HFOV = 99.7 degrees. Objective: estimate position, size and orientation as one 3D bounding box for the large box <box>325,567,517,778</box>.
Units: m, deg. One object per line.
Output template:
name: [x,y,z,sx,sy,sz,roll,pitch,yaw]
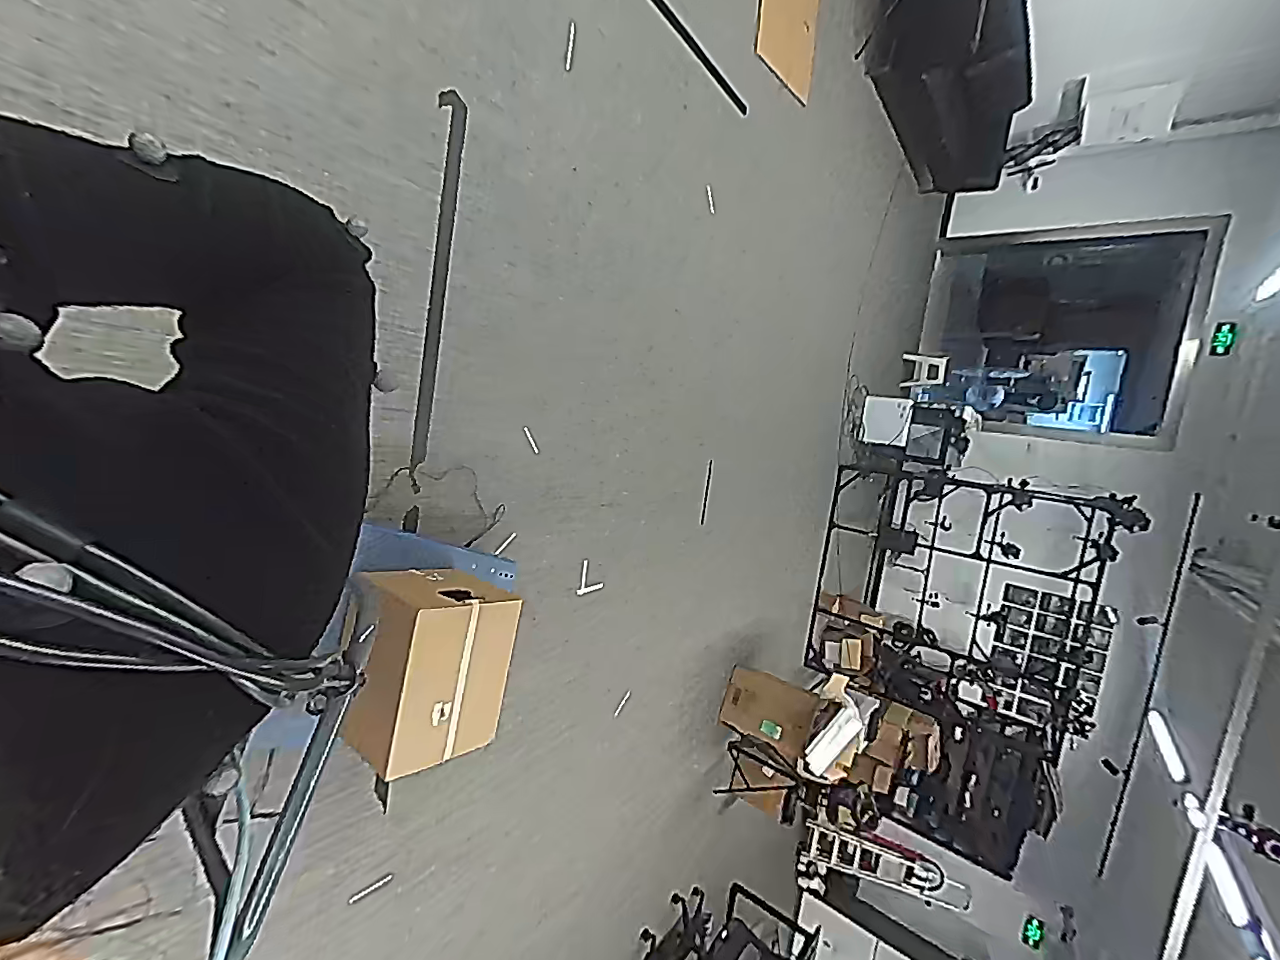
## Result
large box: [-0.571,0.466,1.417,0.320,0.320,0.408,10,92,-53]
